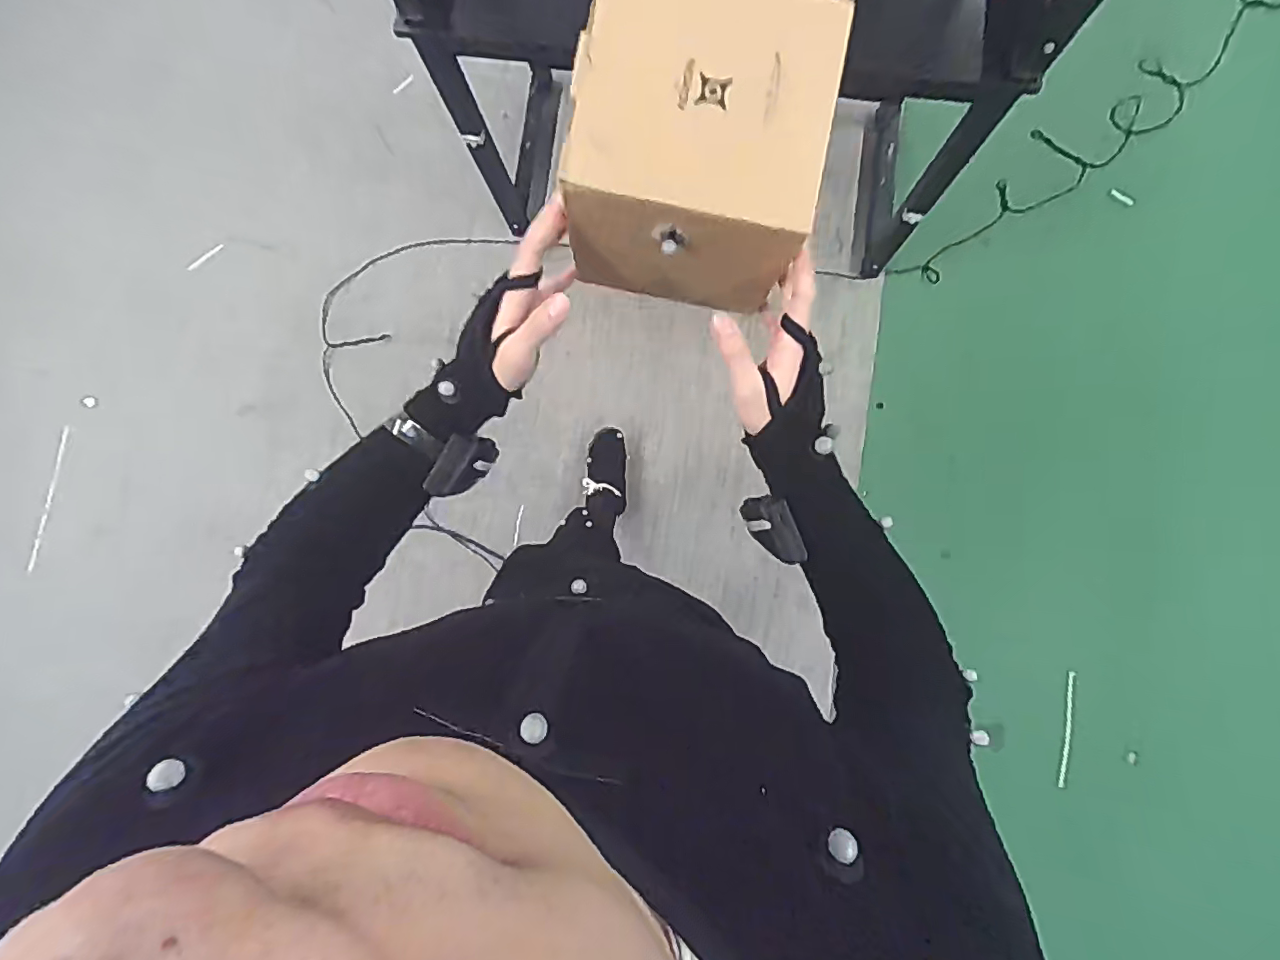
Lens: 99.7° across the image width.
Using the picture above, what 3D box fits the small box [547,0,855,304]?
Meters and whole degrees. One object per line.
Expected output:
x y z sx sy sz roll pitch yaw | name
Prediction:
0.040 -0.258 0.429 0.179 0.176 0.168 12 88 -1 | small box
